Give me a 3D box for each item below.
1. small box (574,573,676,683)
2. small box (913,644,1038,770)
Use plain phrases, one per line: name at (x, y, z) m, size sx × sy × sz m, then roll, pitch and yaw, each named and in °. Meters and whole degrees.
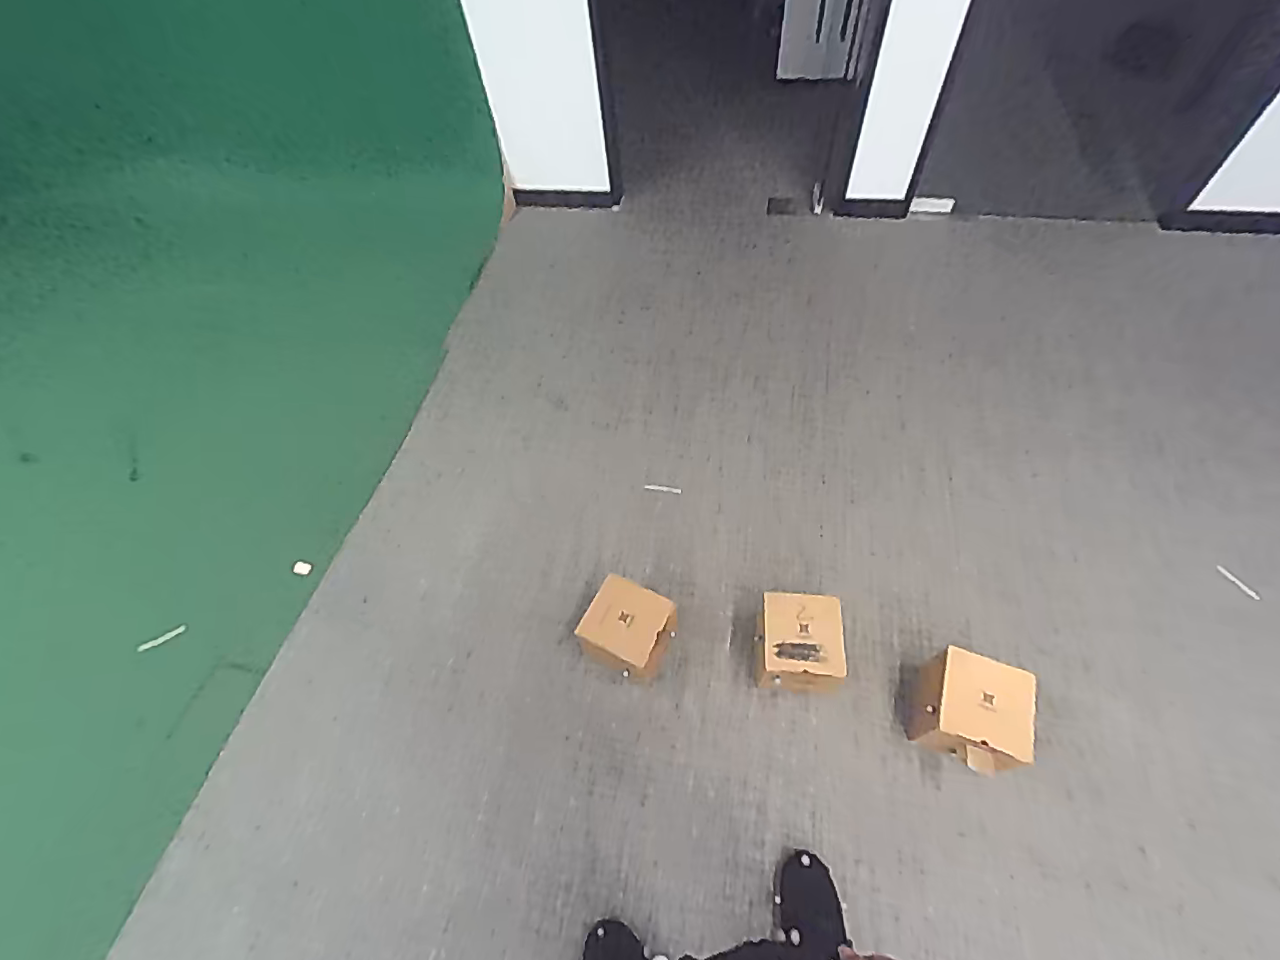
small box at (-0.026, 0.350, 1.254) m, size 0.179 × 0.176 × 0.168 m, roll 21°, pitch 59°, yaw 19°
small box at (0.682, 0.469, 1.111) m, size 0.168 × 0.176 × 0.179 m, roll 17°, pitch 60°, yaw 15°
